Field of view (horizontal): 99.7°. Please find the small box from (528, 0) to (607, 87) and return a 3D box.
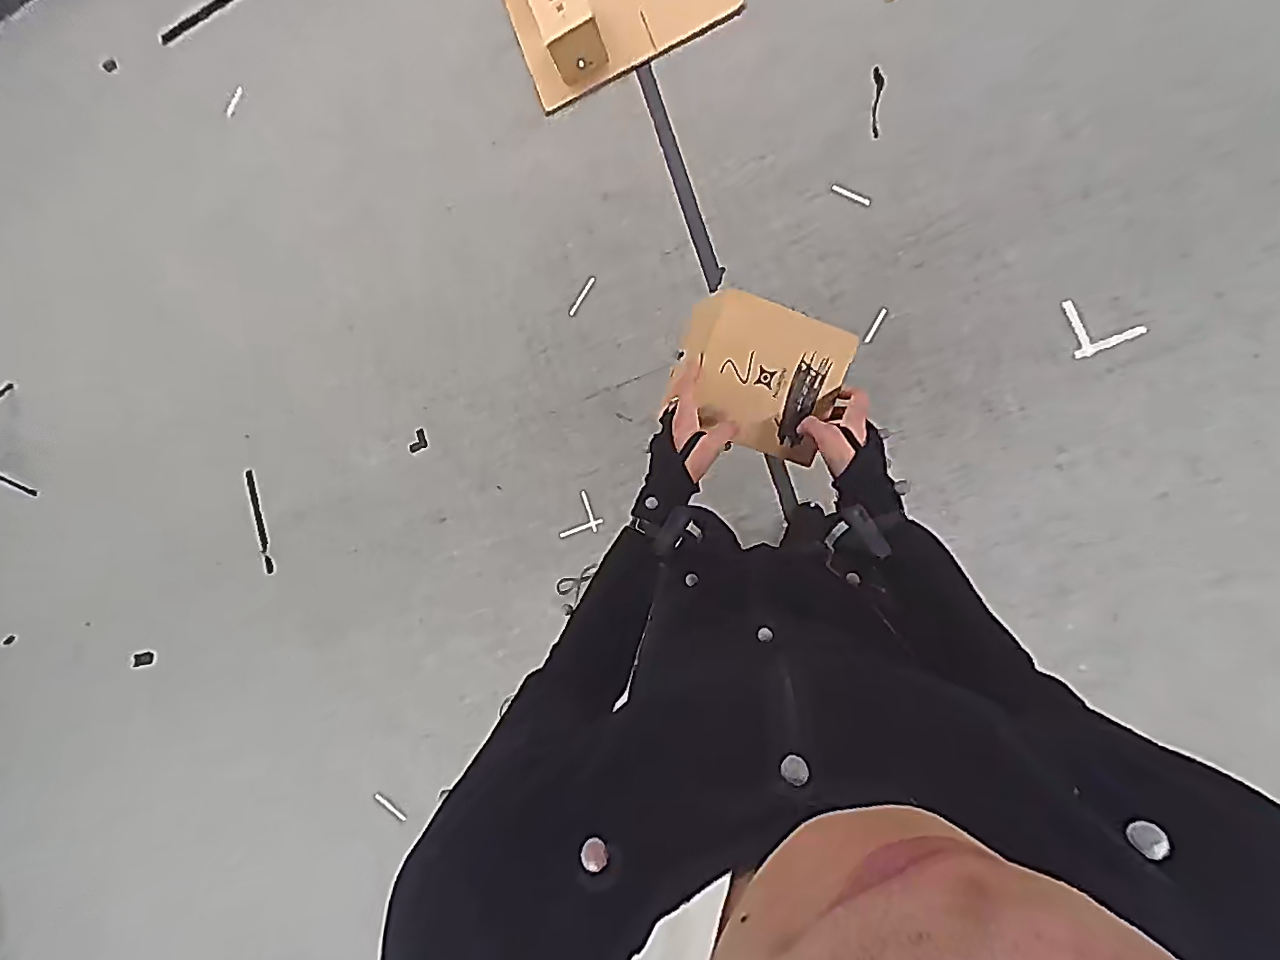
[{"bbox_3d":[-0.222,-1.396,1.693,0.168,0.176,0.179,-22,85,12],"label":"small box"}]
